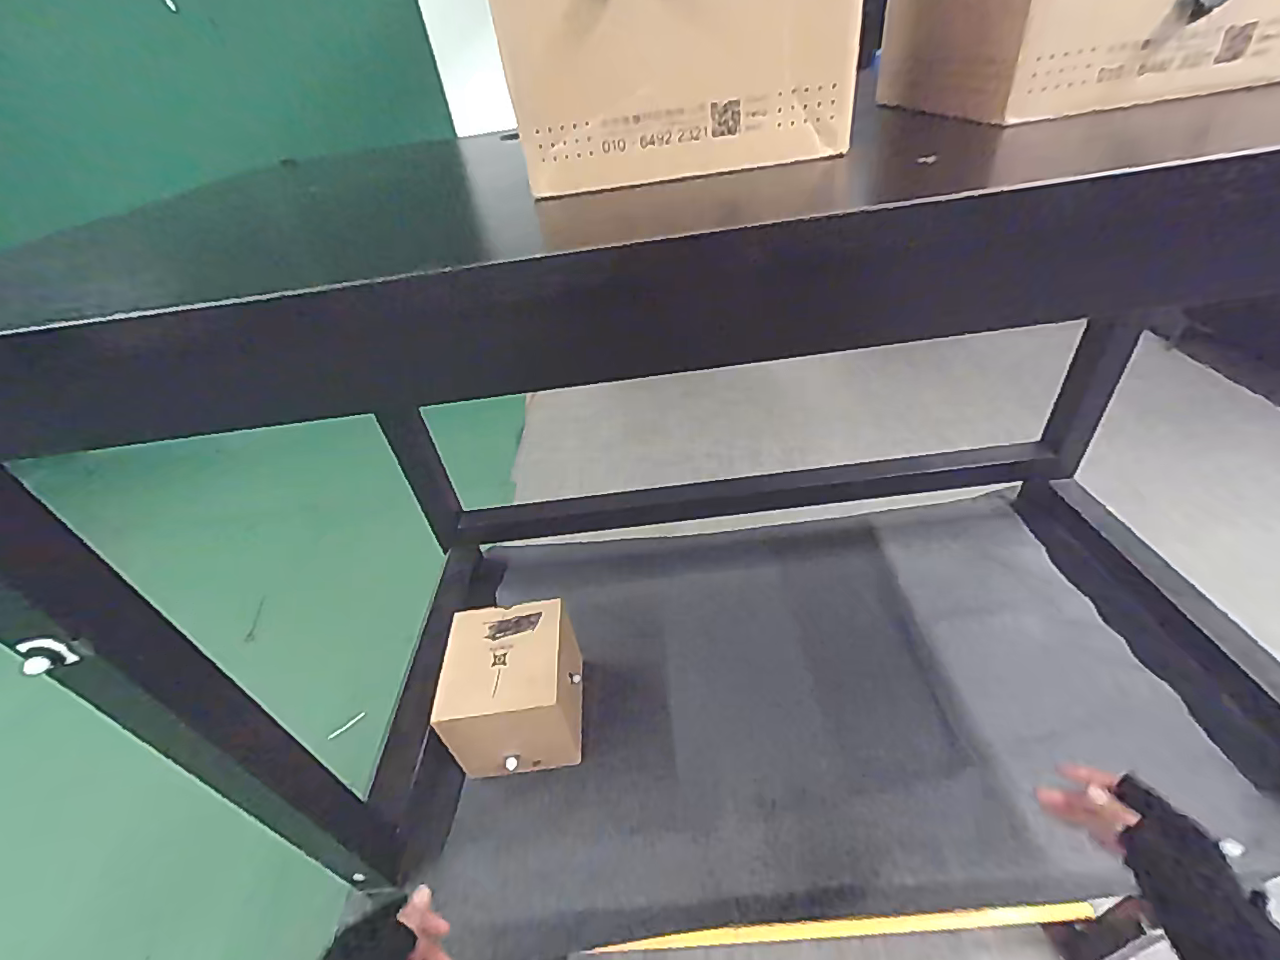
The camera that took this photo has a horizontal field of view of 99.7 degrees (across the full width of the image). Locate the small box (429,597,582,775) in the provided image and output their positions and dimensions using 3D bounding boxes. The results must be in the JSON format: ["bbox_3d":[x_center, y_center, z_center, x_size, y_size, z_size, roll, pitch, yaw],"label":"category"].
[{"bbox_3d":[-0.184,0.303,0.800,0.168,0.176,0.179,-9,38,2],"label":"small box"}]
